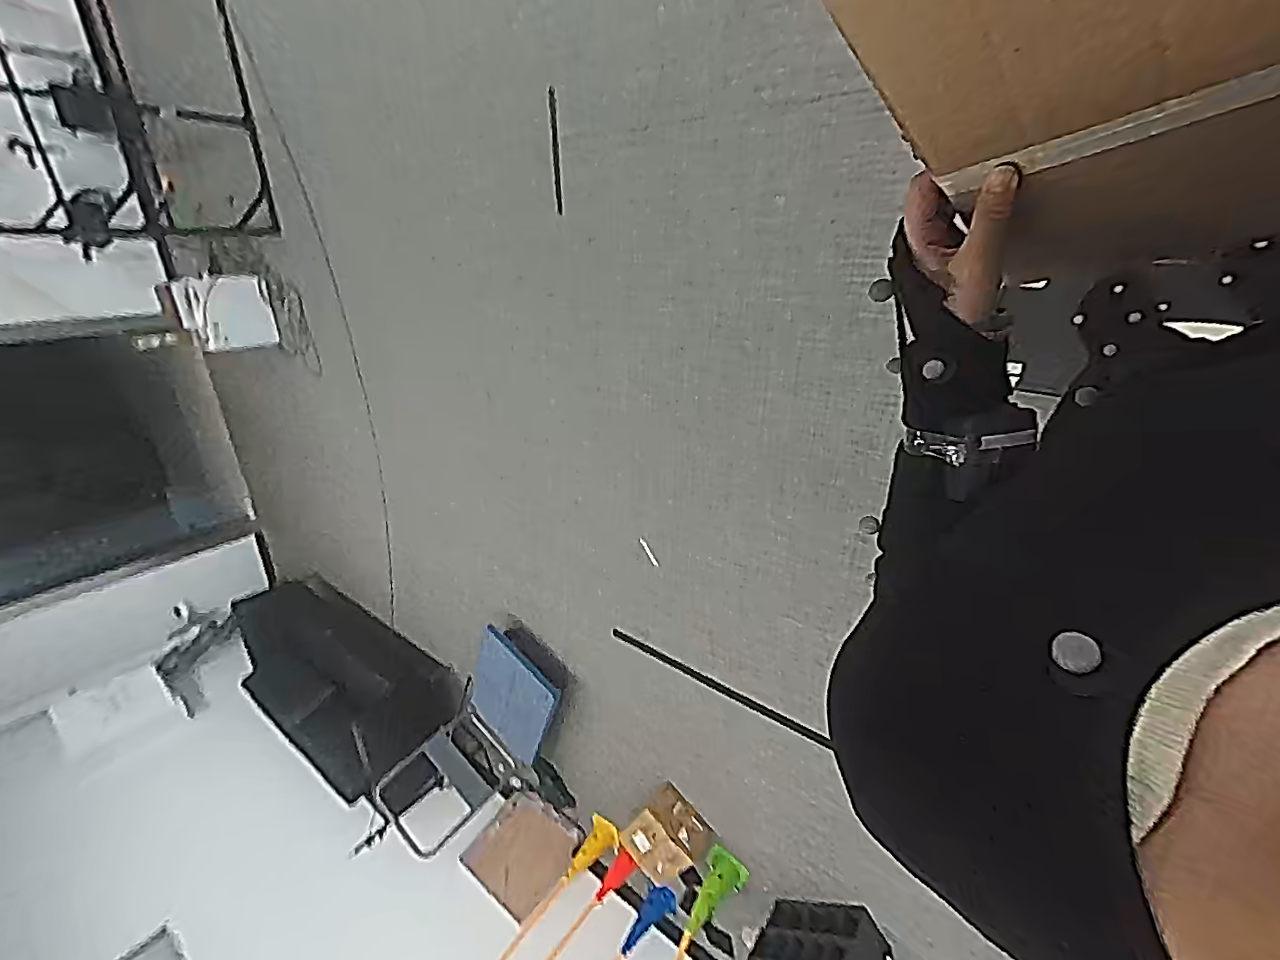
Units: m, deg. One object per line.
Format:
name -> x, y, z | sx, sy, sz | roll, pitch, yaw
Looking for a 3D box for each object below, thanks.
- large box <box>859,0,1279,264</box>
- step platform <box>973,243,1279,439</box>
large box -> 0.325, -0.325, 0.167 | 0.408, 0.320, 0.320 | 4, 84, 48
step platform -> 1.031, -0.274, 1.012 | 0.684, 0.204, 0.286 | 24, 122, 32
